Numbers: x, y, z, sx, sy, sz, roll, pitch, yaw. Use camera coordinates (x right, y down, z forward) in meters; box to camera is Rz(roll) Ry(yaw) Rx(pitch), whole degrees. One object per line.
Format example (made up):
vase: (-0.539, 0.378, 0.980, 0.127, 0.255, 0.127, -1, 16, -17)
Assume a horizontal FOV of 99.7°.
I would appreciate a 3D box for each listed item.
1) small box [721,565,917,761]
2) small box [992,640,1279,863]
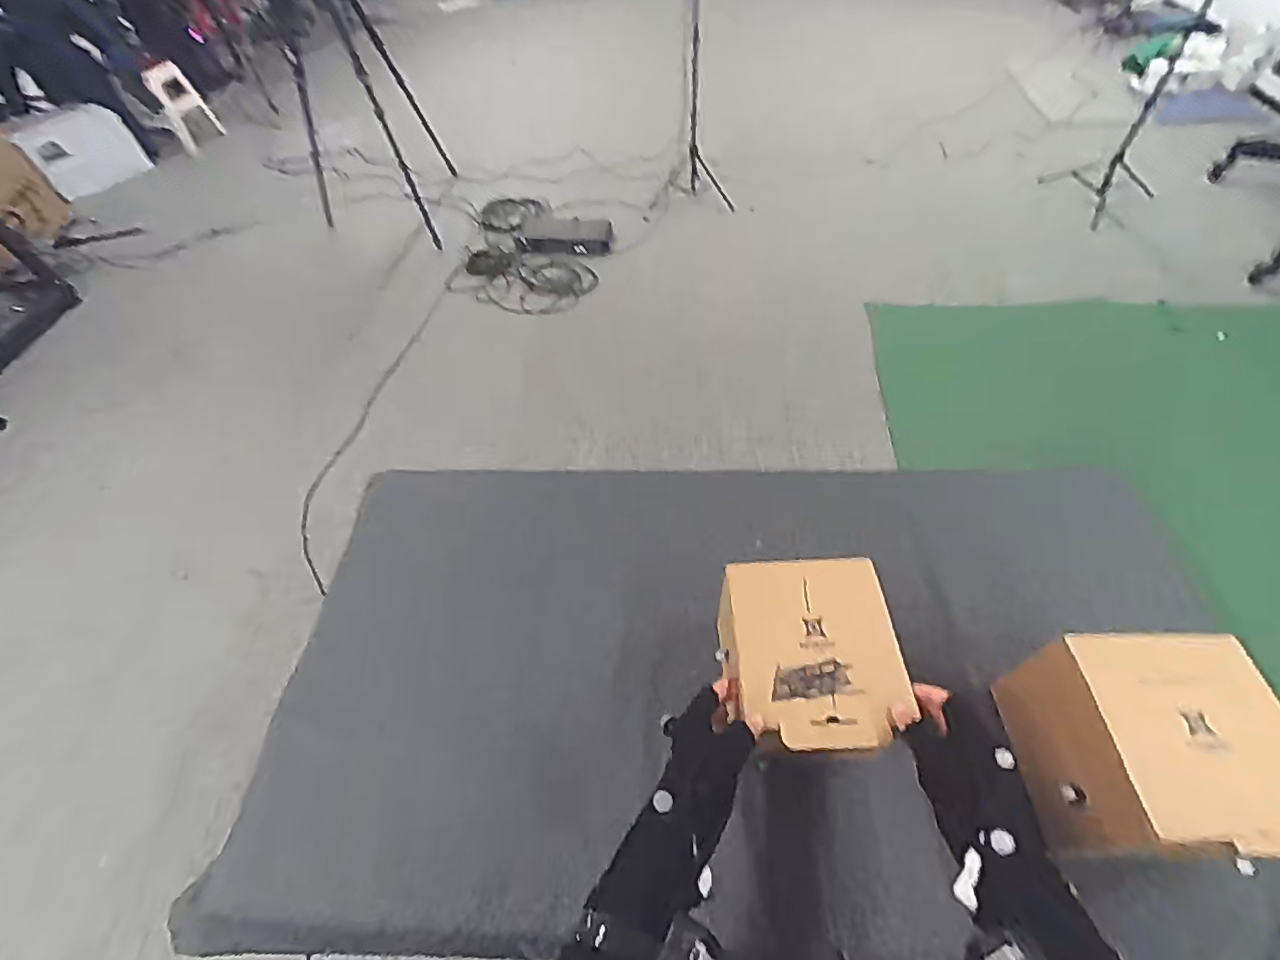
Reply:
small box: (0.185, 0.217, 0.623, 0.168, 0.176, 0.179, -3, 51, 2)
small box: (0.506, 0.279, 0.551, 0.168, 0.176, 0.179, -1, 51, 3)
